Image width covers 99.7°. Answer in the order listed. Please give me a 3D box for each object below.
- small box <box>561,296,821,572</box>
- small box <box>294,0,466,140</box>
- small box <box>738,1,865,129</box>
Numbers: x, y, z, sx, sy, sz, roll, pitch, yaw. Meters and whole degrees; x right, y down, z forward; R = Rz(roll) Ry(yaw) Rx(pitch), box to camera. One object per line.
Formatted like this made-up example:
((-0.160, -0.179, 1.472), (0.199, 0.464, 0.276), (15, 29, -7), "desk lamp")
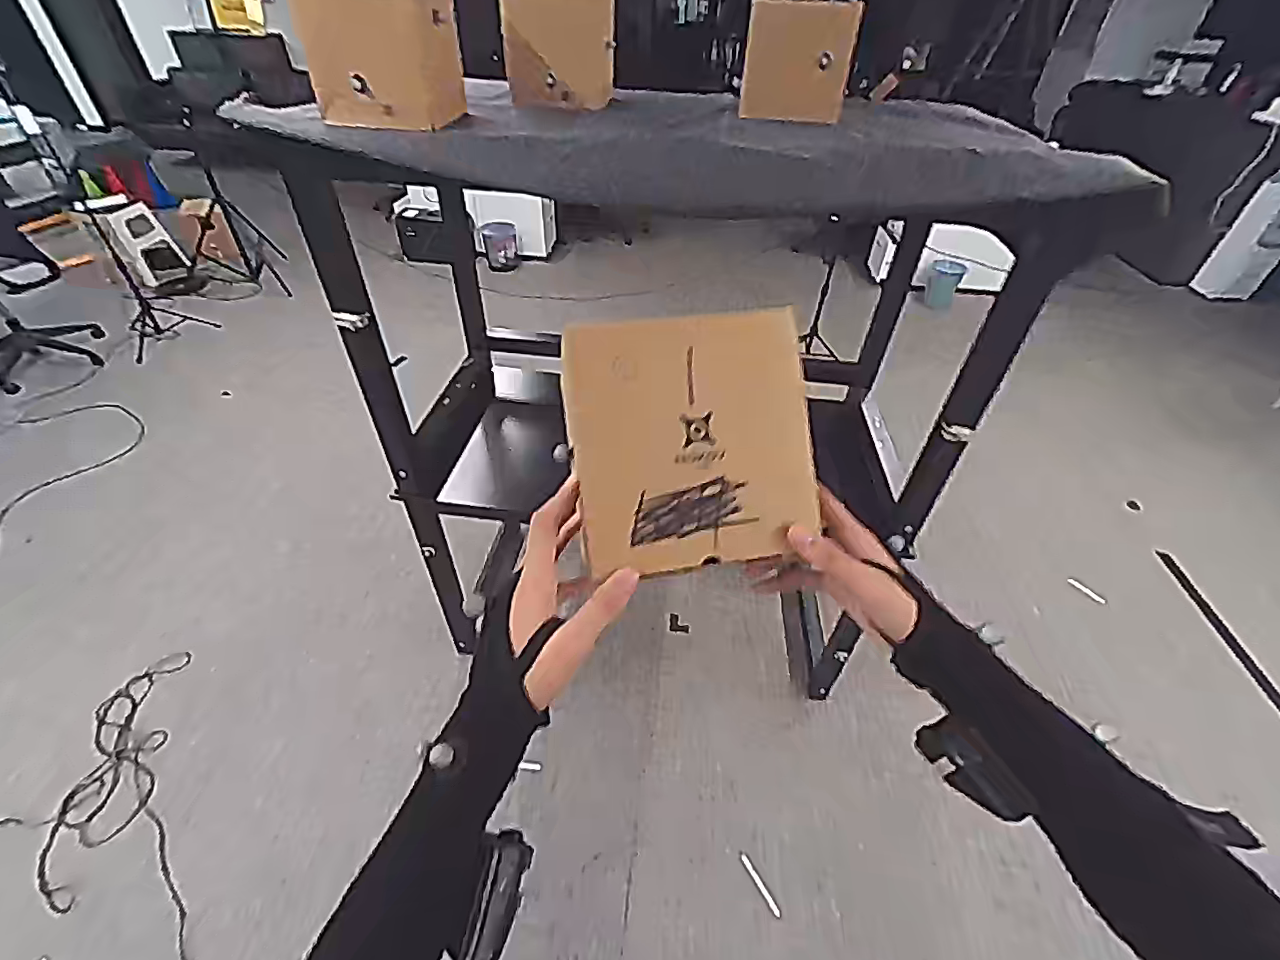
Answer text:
((0.027, -0.033, 0.443), (0.168, 0.179, 0.176), (-7, 0, -9), "small box")
((-0.367, -0.620, 0.795), (0.168, 0.176, 0.179), (4, 43, 1), "small box")
((0.280, -0.747, 0.975), (0.179, 0.176, 0.168), (7, 41, 5), "small box")
